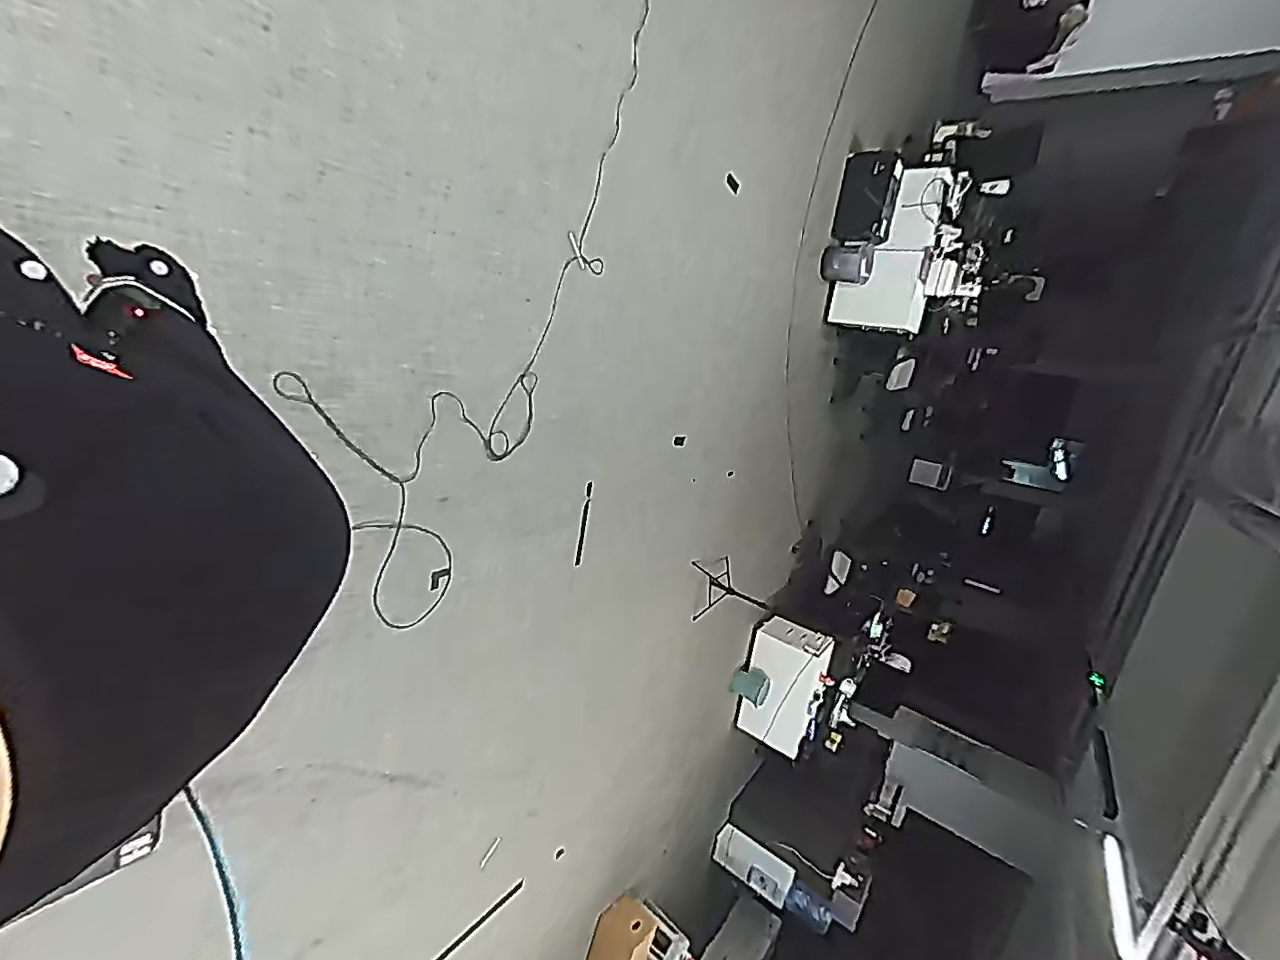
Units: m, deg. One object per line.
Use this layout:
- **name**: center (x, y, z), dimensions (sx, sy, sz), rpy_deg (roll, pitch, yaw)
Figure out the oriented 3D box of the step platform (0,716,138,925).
- **step platform**: center (-1.358, 0.726, 0.960), dimensions (0.684, 0.204, 0.286), rpy_deg (-13, 116, -51)
